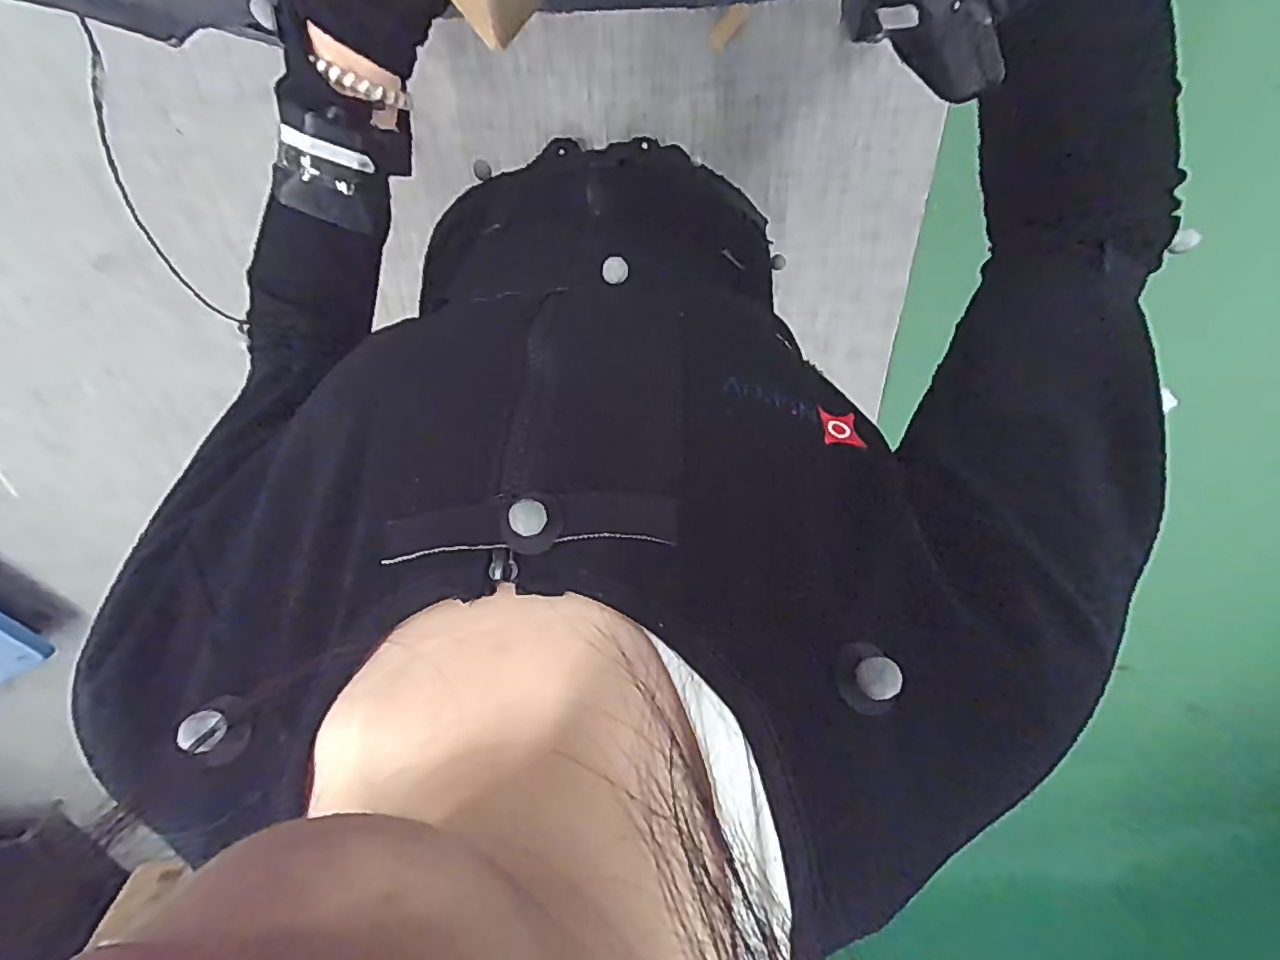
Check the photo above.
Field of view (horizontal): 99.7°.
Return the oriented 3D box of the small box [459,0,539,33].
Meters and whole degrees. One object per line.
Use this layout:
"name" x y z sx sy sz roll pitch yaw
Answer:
"small box" -0.061 -0.324 0.200 0.179 0.176 0.168 -43 119 14
